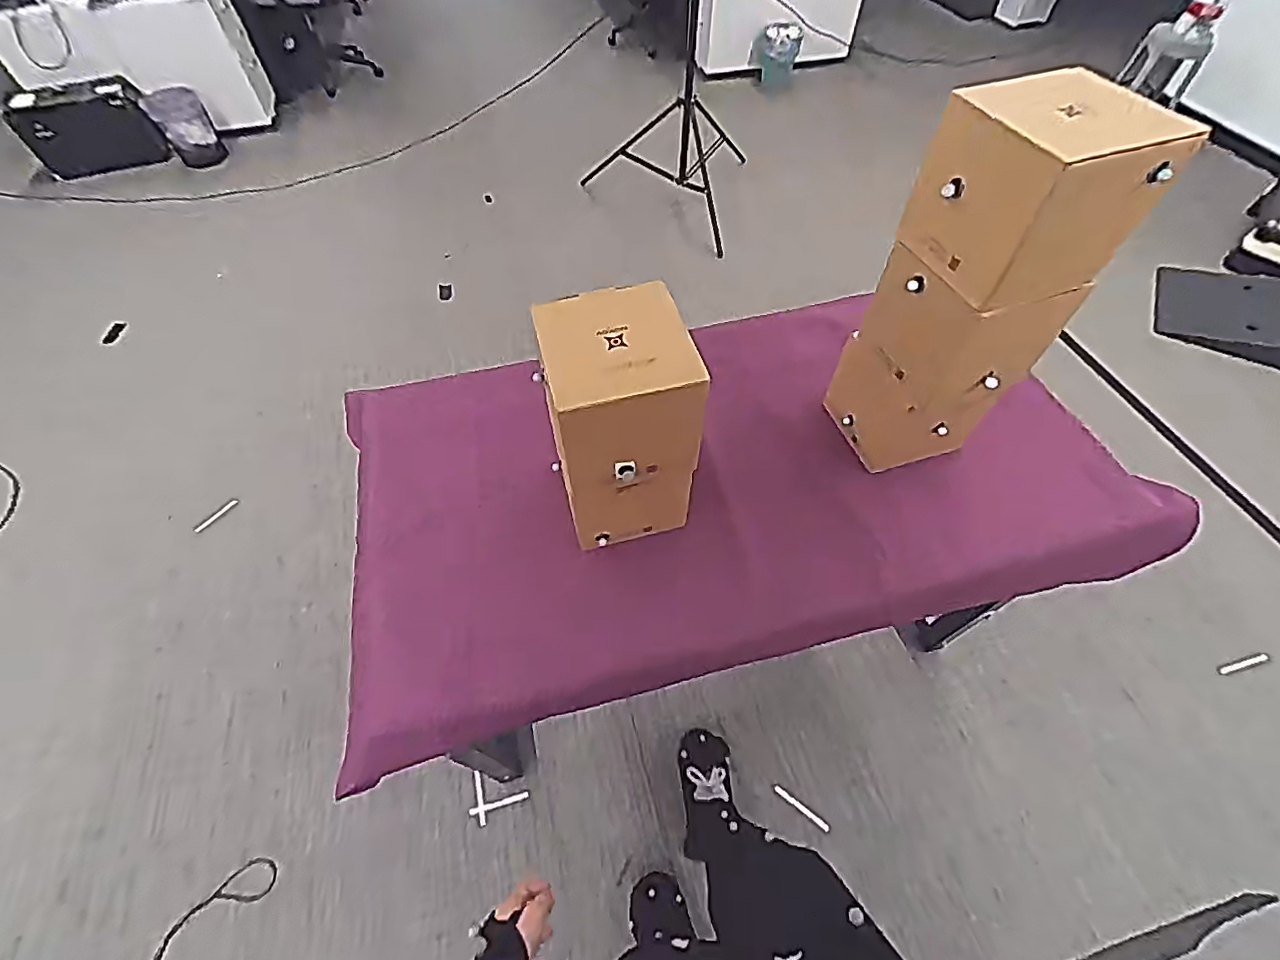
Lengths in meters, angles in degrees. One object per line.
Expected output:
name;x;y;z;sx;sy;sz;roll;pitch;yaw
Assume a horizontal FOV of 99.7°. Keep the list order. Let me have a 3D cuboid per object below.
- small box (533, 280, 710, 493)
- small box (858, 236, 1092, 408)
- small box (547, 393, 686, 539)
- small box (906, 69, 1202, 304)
small box;-0.027;-0.111;0.663;0.168;0.176;0.179;-14;58;-8
small box;0.437;-0.226;0.740;0.179;0.176;0.168;-17;57;-11
small box;-0.032;-0.029;0.804;0.168;0.176;0.179;-13;56;-9
small box;0.433;-0.324;0.609;0.179;0.176;0.168;-17;57;-11
